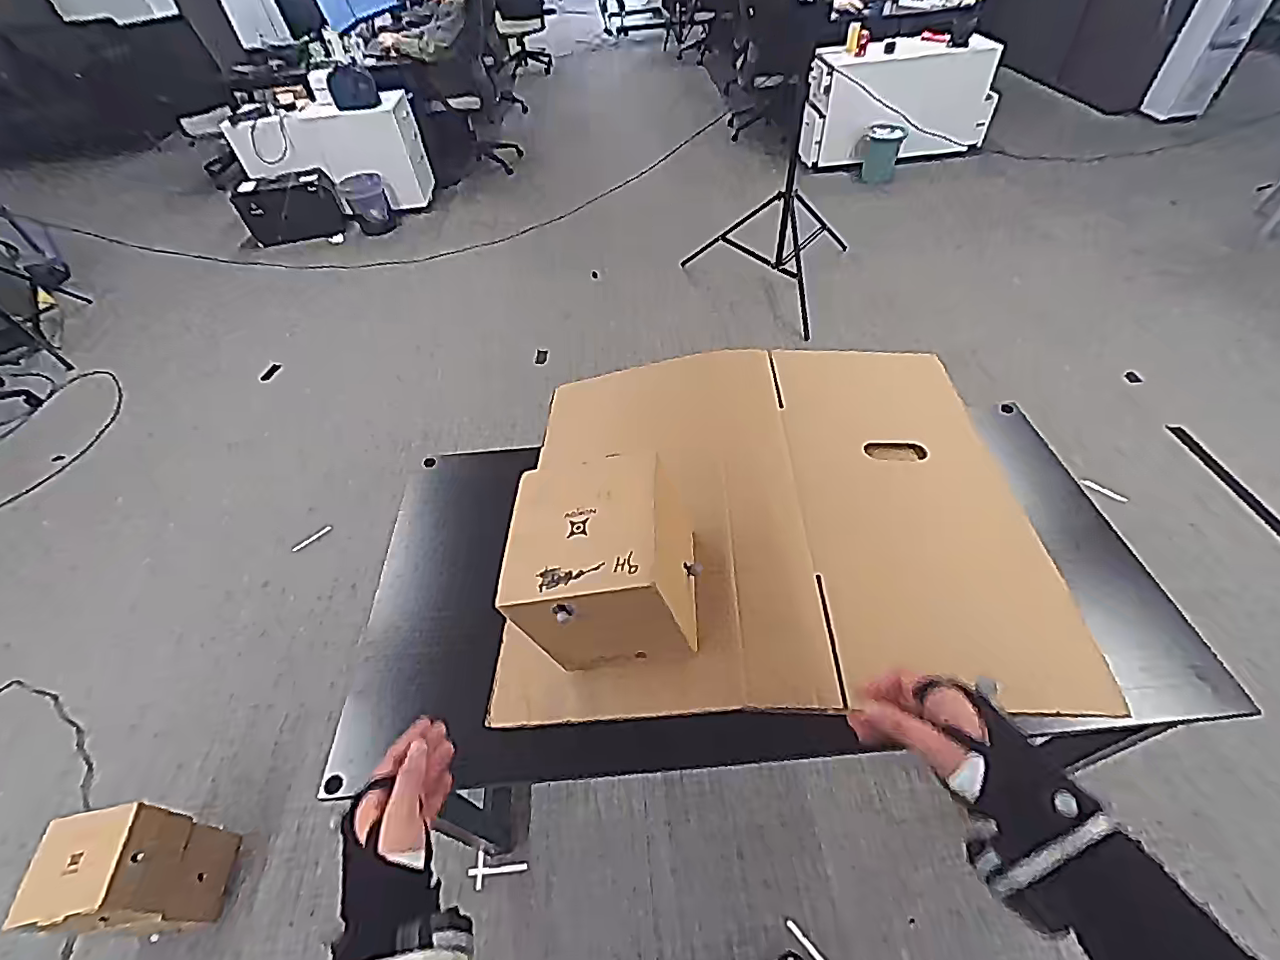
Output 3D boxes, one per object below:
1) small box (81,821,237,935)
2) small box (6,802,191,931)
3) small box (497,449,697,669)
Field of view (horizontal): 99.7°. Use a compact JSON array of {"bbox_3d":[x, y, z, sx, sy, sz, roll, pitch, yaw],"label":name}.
[{"bbox_3d":[-1.040,0.879,1.193,0.168,0.176,0.179,-8,50,-2],"label":"small box"},{"bbox_3d":[-1.052,0.768,1.074,0.168,0.176,0.179,-10,48,-5],"label":"small box"},{"bbox_3d":[-0.035,0.094,0.618,0.168,0.176,0.179,-11,47,15],"label":"small box"}]
